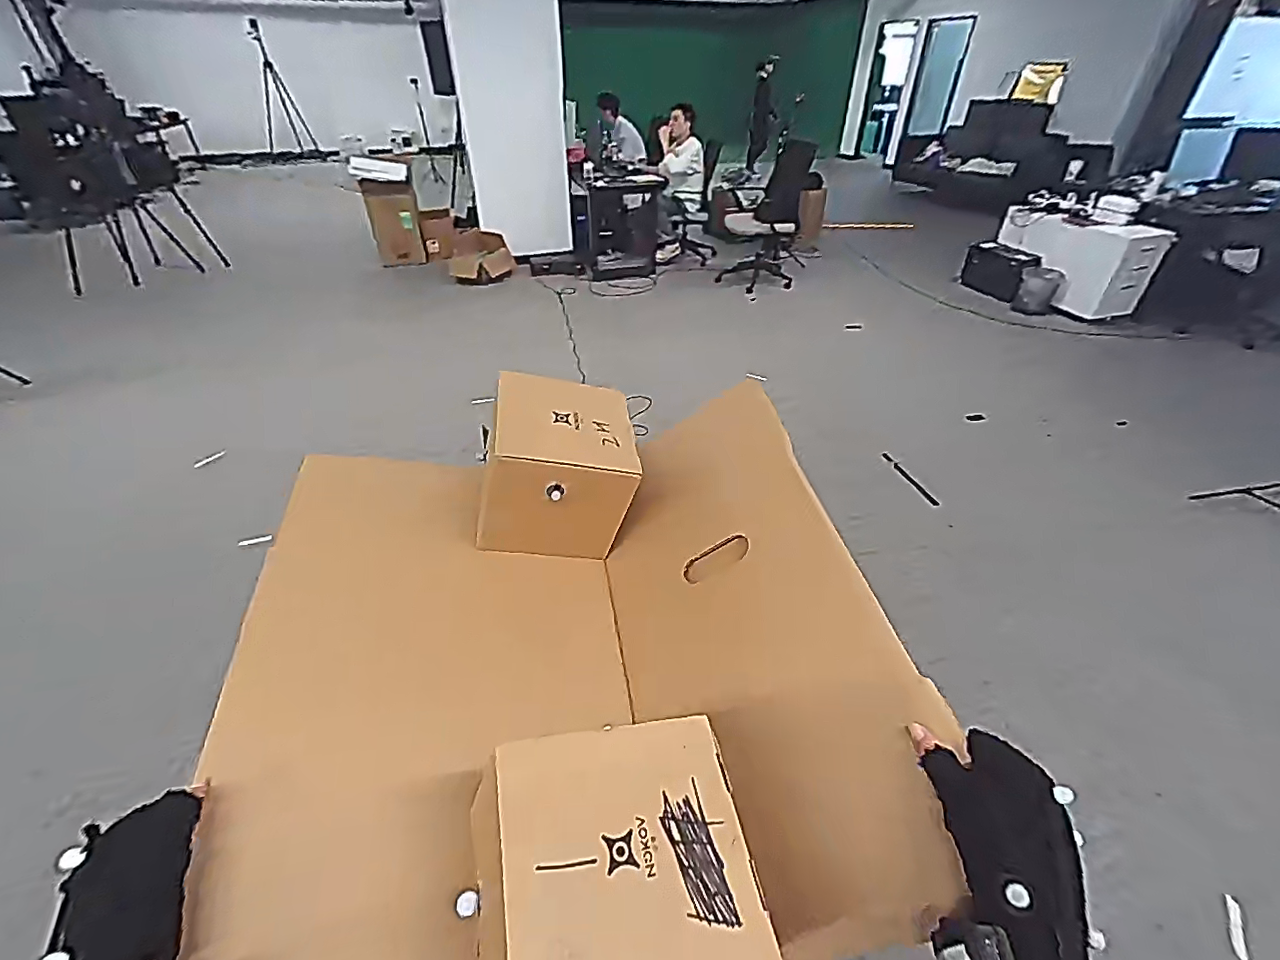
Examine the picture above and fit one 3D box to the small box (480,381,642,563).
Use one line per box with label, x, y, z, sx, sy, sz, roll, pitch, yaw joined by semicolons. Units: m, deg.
small box;-0.113;-0.005;0.725;0.179;0.176;0.168;9;43;-19
